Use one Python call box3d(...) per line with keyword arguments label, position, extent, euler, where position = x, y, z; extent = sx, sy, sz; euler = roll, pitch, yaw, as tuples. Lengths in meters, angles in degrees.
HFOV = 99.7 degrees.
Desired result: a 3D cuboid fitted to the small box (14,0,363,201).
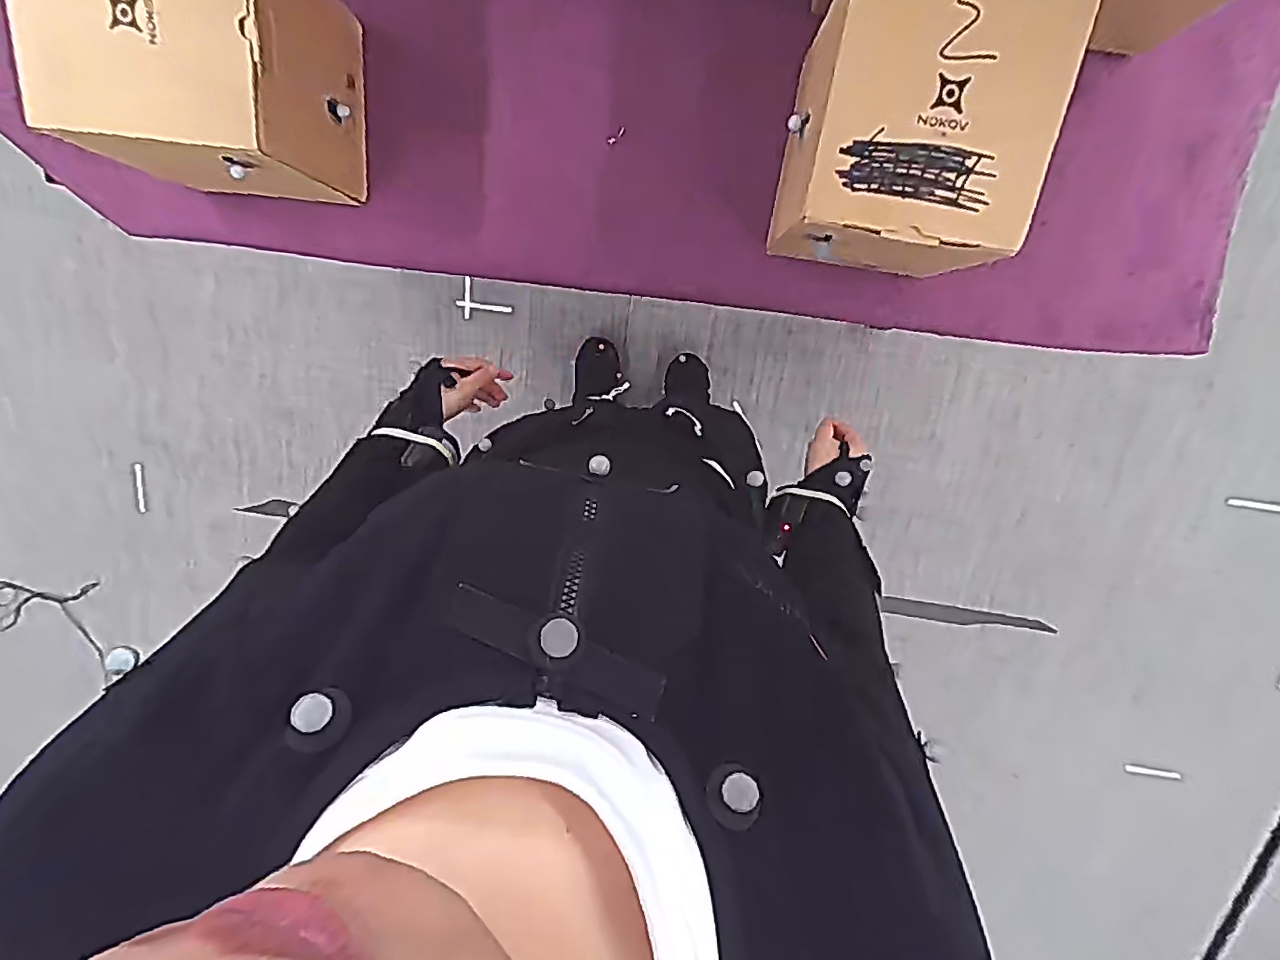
box3d(label="small box", position=(-0.373, -0.360, 0.476), extent=(0.179, 0.176, 0.168), euler=(4, 104, -2))
